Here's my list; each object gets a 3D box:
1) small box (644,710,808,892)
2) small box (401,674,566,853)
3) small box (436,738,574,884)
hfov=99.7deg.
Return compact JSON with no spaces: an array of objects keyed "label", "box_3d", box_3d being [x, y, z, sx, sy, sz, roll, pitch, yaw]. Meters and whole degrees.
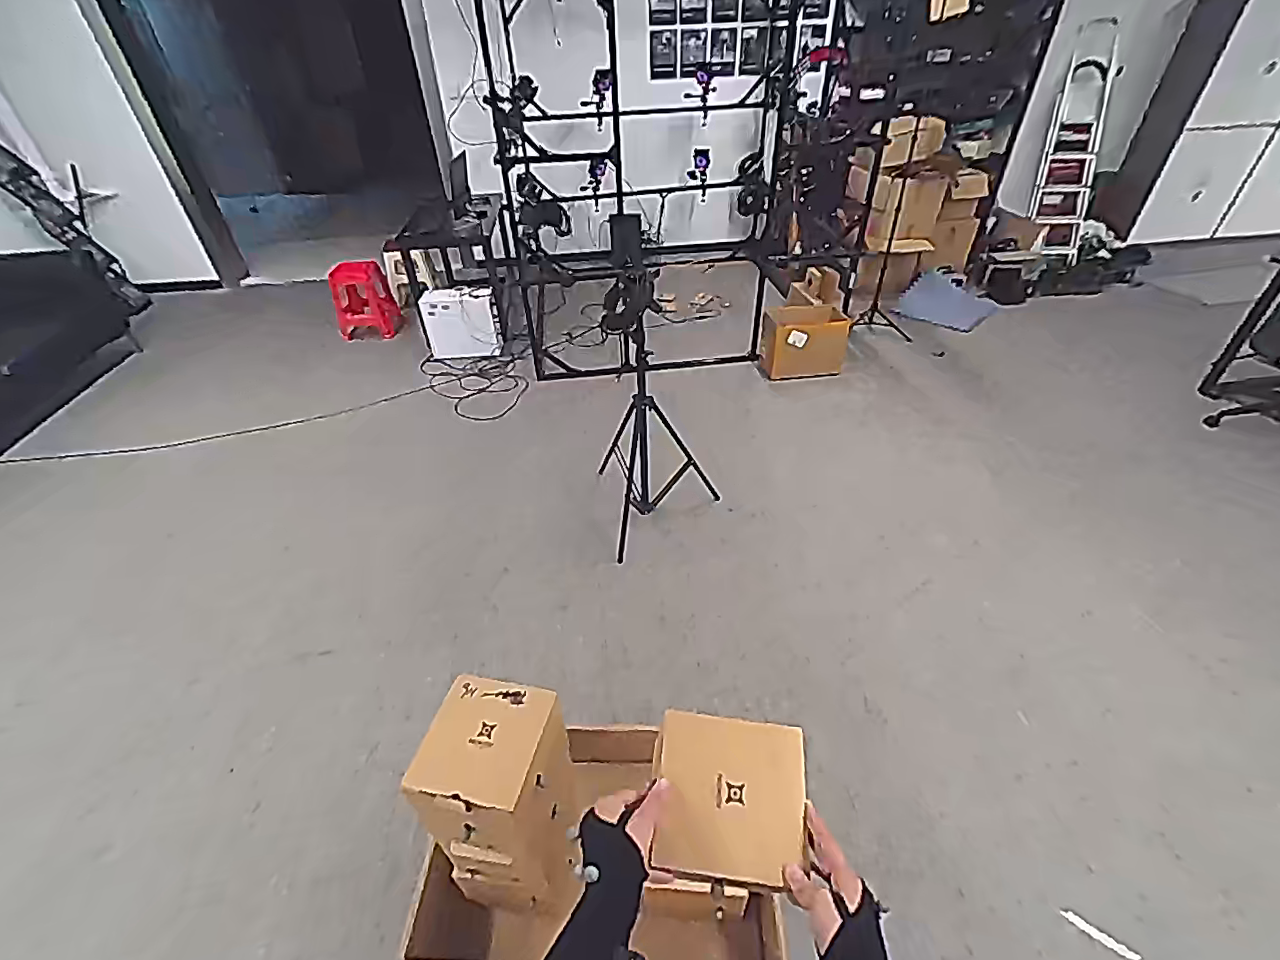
[{"label":"small box","box_3d":[0.102,0.410,0.689,0.179,0.176,0.168,5,52,4]},{"label":"small box","box_3d":[-0.220,0.429,0.819,0.168,0.176,0.179,7,40,11]},{"label":"small box","box_3d":[-0.216,0.555,0.924,0.168,0.176,0.179,4,38,8]}]
